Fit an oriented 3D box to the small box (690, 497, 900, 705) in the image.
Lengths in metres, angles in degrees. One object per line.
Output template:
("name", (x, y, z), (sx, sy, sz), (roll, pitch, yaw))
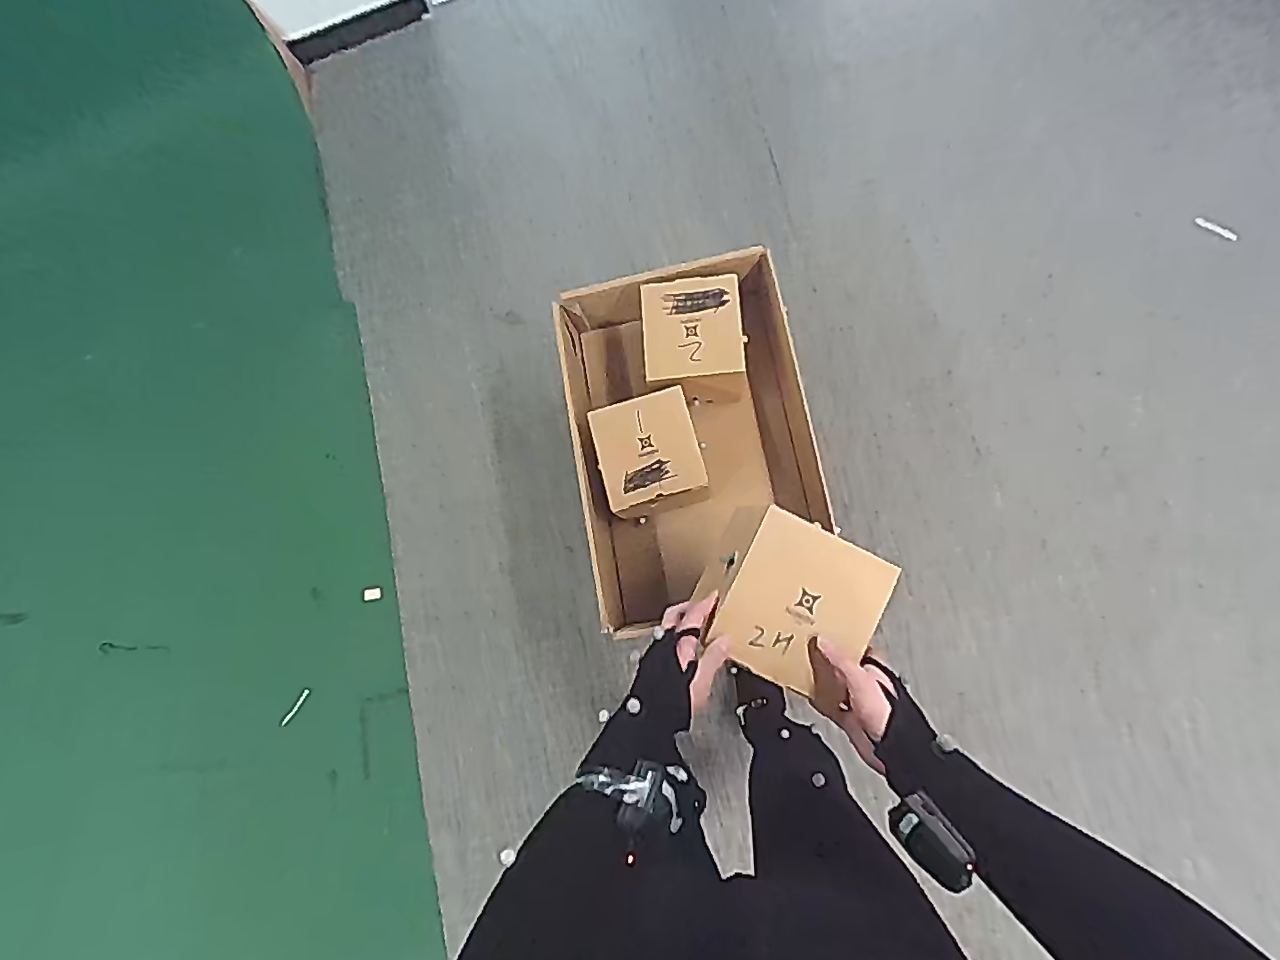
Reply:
("small box", (0.173, 0.134, 0.666), (0.168, 0.176, 0.179), (28, 87, 0))
